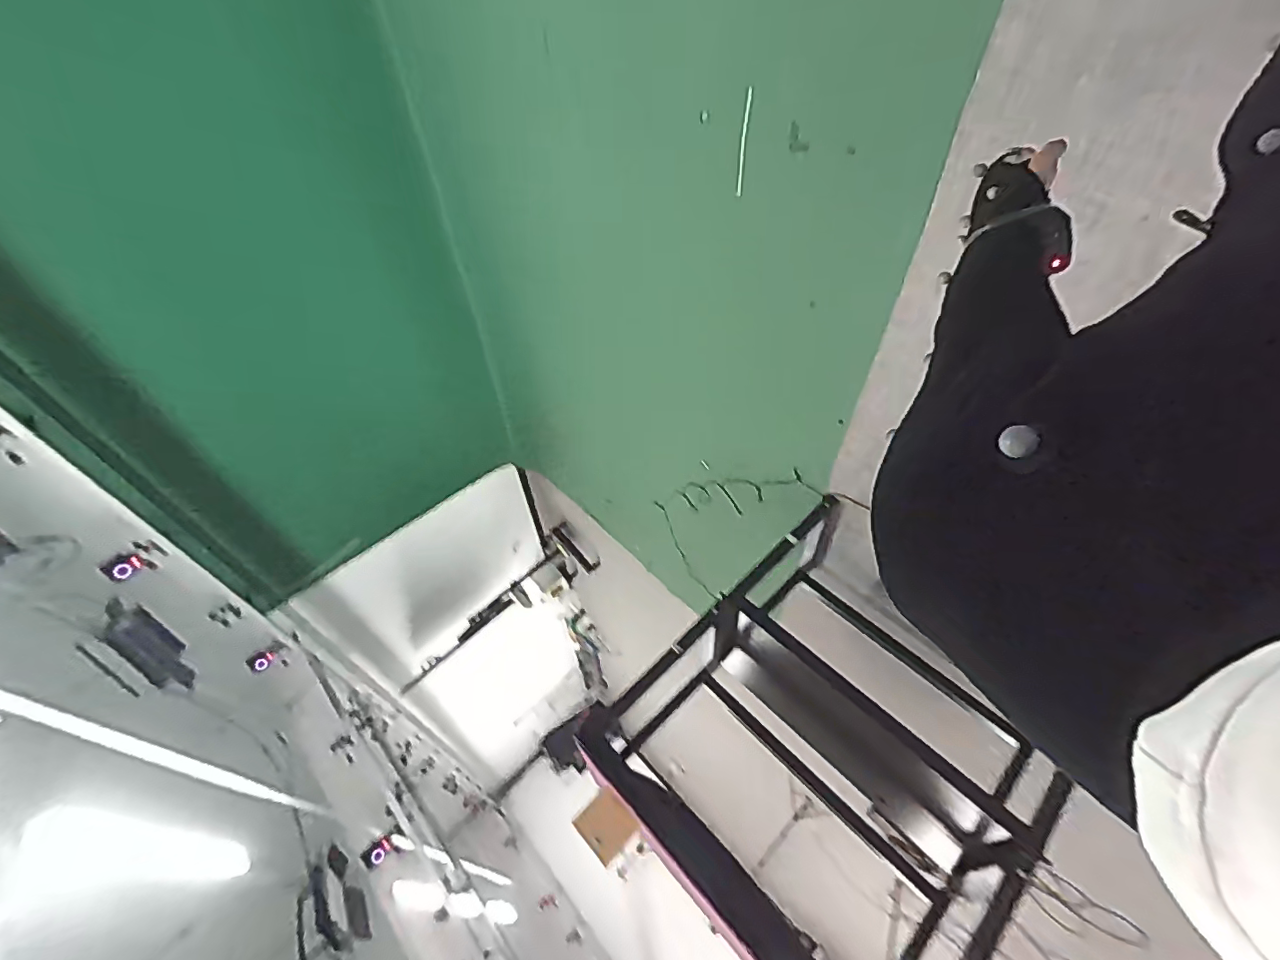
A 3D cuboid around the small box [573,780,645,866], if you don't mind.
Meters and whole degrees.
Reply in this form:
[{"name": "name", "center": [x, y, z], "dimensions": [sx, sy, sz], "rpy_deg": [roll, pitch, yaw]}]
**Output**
[{"name": "small box", "center": [-0.097, 1.114, 1.758], "dimensions": [0.168, 0.176, 0.179], "rpy_deg": [39, 151, 26]}]
